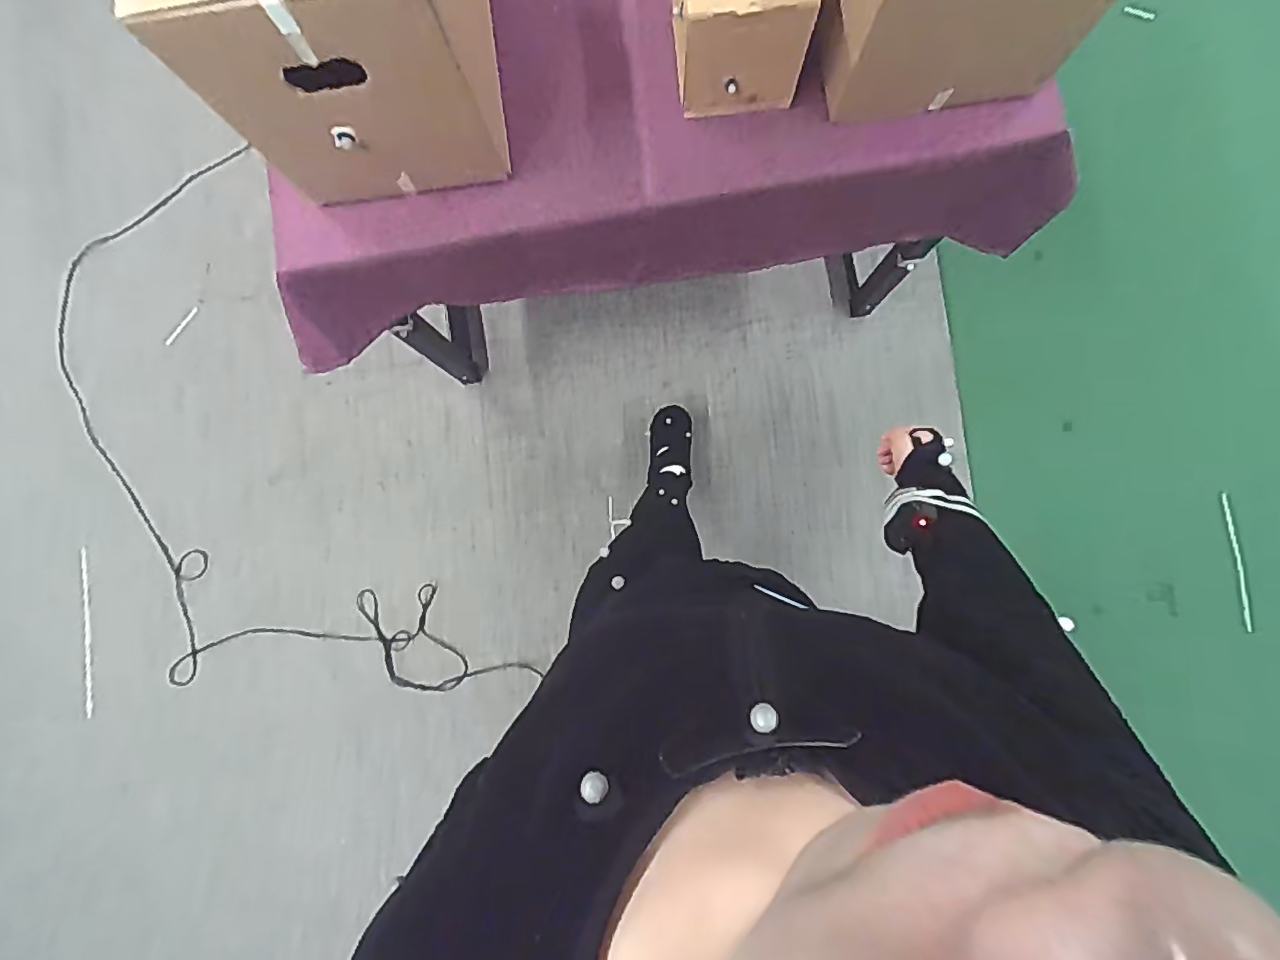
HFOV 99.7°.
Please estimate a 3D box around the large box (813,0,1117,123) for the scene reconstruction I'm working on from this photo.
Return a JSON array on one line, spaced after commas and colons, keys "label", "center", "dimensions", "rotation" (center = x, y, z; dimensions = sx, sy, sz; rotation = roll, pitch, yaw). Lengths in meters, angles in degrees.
[{"label": "large box", "center": [0.415, -0.766, 0.690], "dimensions": [0.320, 0.320, 0.408], "rotation": [-7, 85, 1]}]
